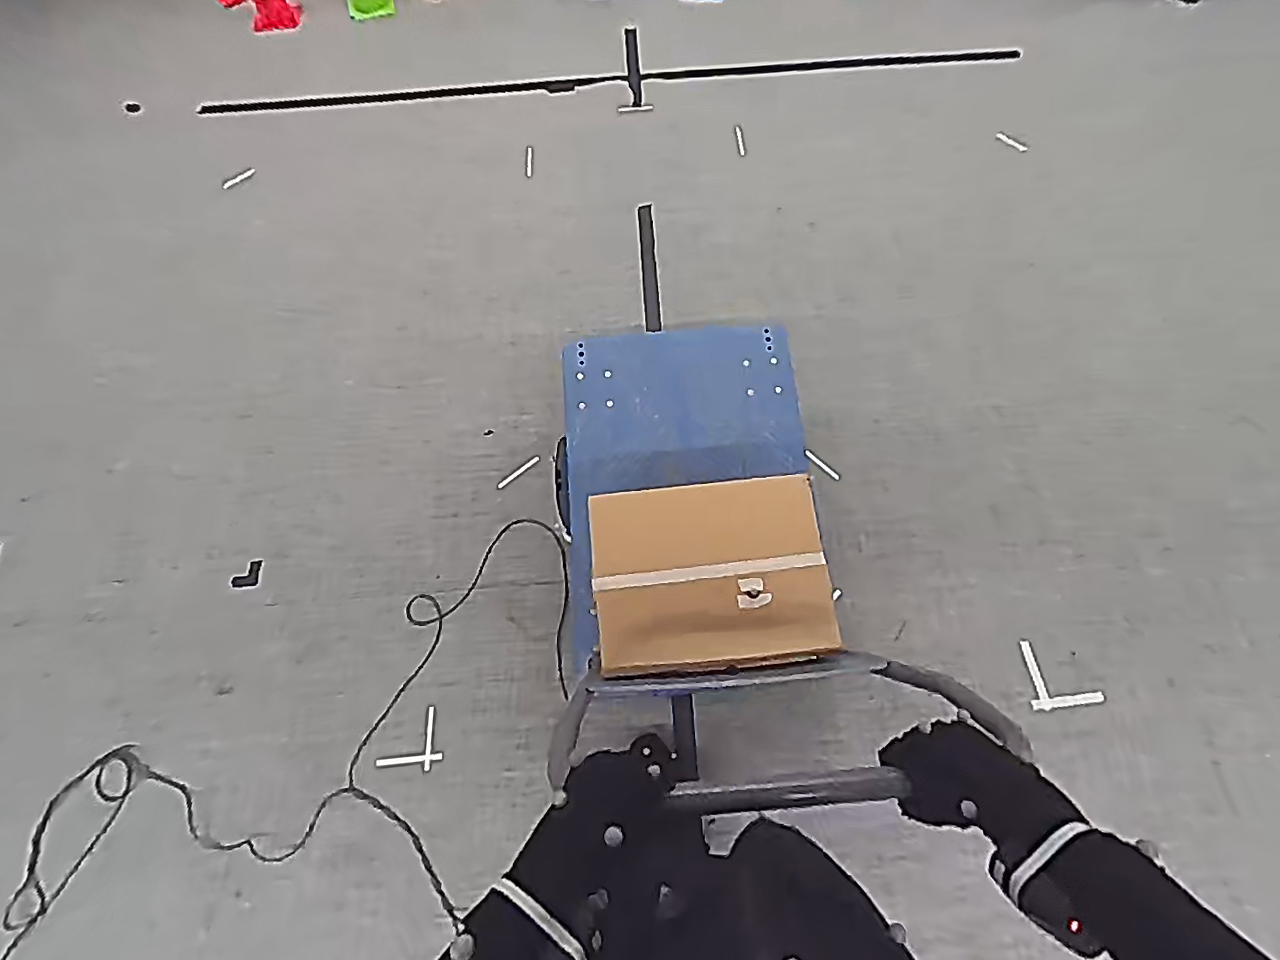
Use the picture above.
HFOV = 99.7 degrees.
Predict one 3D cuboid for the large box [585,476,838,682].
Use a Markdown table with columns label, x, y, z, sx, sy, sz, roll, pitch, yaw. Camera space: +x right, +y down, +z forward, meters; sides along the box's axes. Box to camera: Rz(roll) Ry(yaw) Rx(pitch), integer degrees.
| label | x | y | z | sx | sy | sz | roll | pitch | yaw |
| --- | --- | --- | --- | --- | --- | --- | --- | --- | --- |
| large box | 0.115 | 0.202 | 1.076 | 0.408 | 0.320 | 0.320 | -6 | 75 | -2 |
